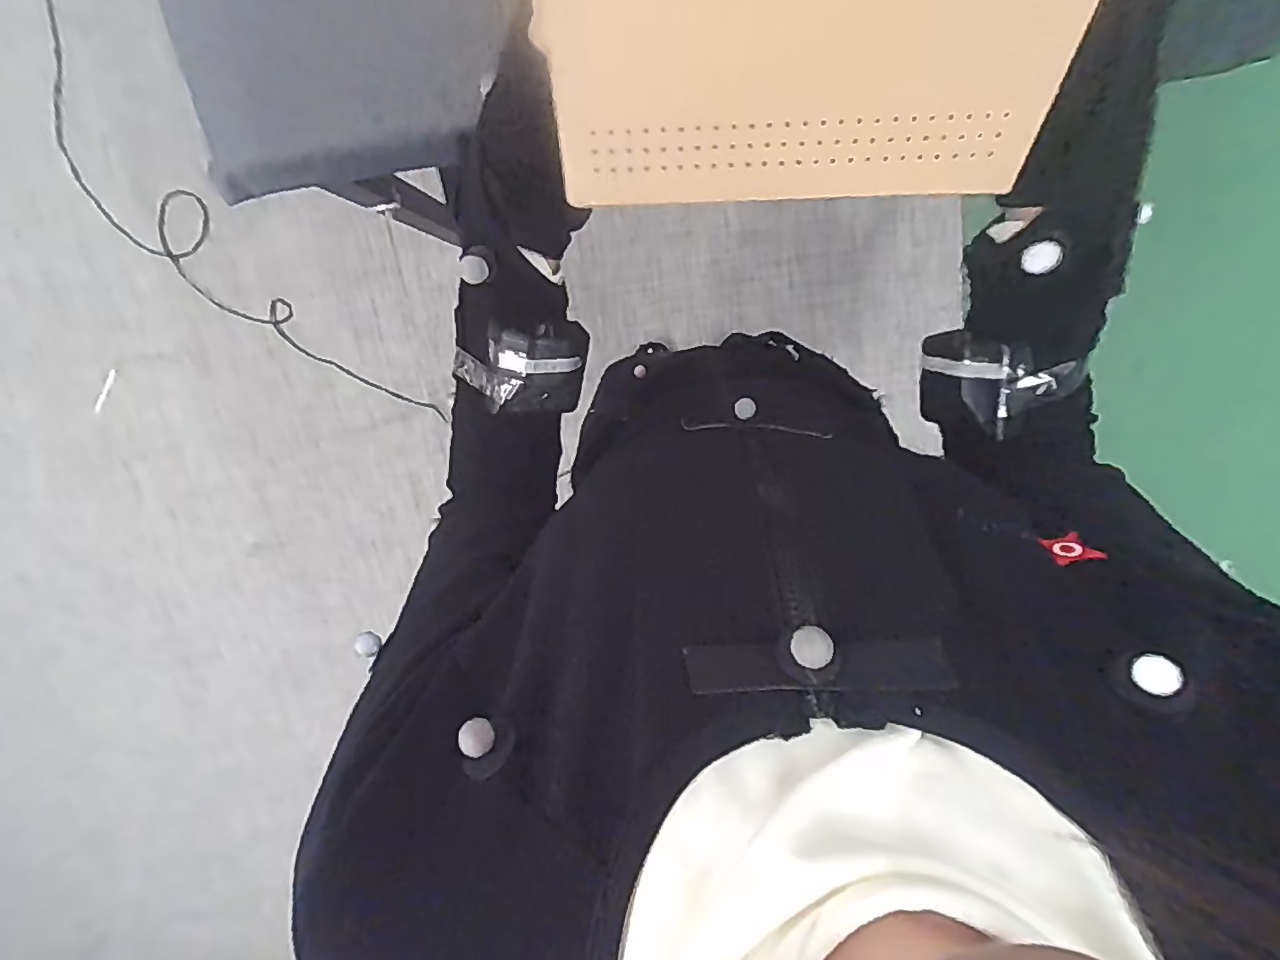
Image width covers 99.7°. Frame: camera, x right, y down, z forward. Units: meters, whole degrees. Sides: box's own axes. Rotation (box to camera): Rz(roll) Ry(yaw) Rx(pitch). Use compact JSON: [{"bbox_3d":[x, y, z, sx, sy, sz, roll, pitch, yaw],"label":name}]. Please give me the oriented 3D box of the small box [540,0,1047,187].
[{"bbox_3d":[0.054,-0.233,0.209,0.179,0.168,0.176,-1,140,1],"label":"small box"}]
